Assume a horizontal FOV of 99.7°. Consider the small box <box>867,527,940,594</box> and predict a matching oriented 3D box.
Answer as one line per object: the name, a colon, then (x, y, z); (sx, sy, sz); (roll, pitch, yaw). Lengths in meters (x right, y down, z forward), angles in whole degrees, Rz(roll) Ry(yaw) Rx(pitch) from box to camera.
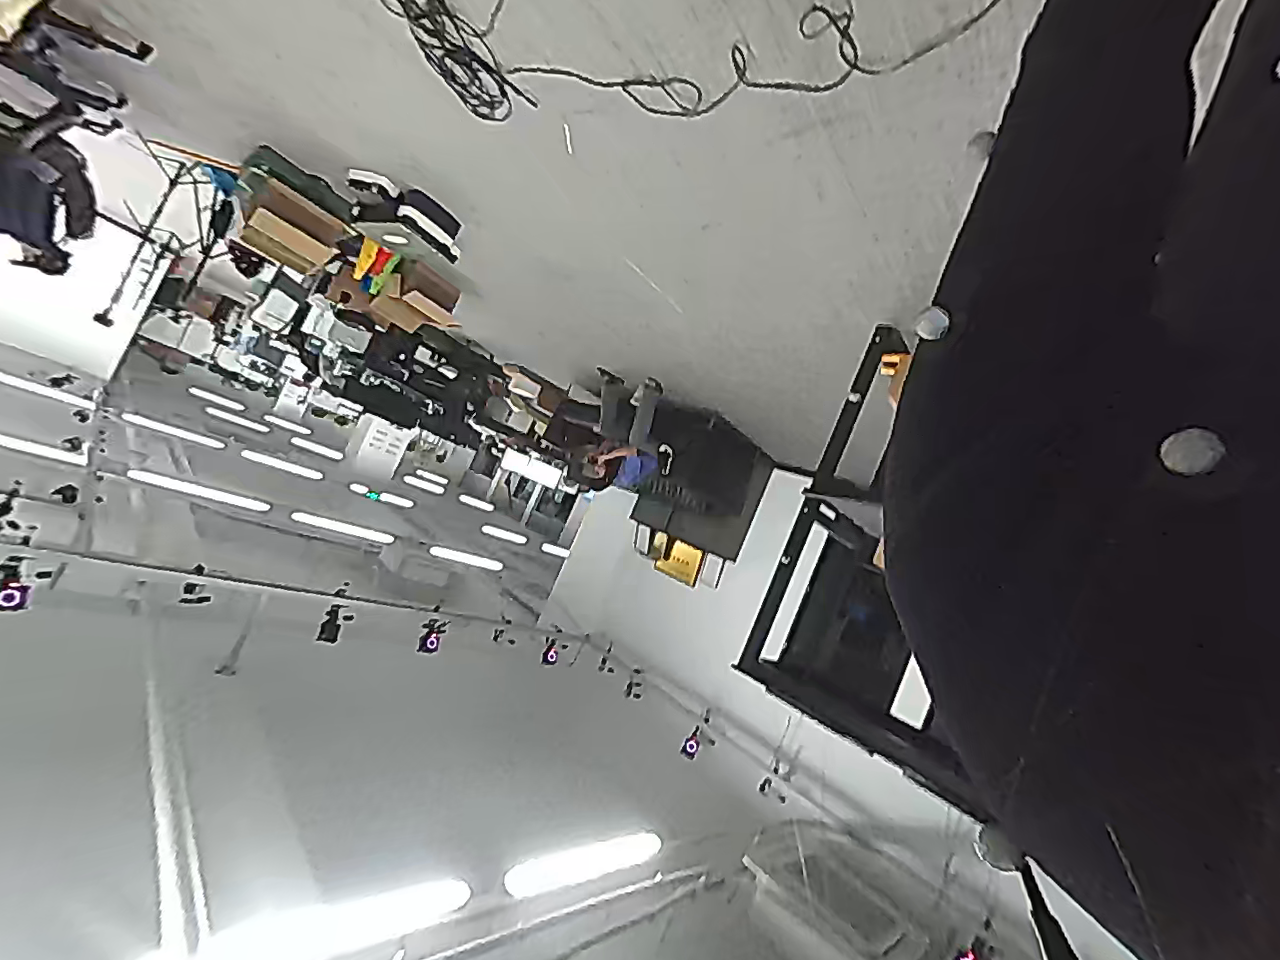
small box: (0.945, 0.286, 1.927); (0.168, 0.176, 0.179); (19, 173, 44)
